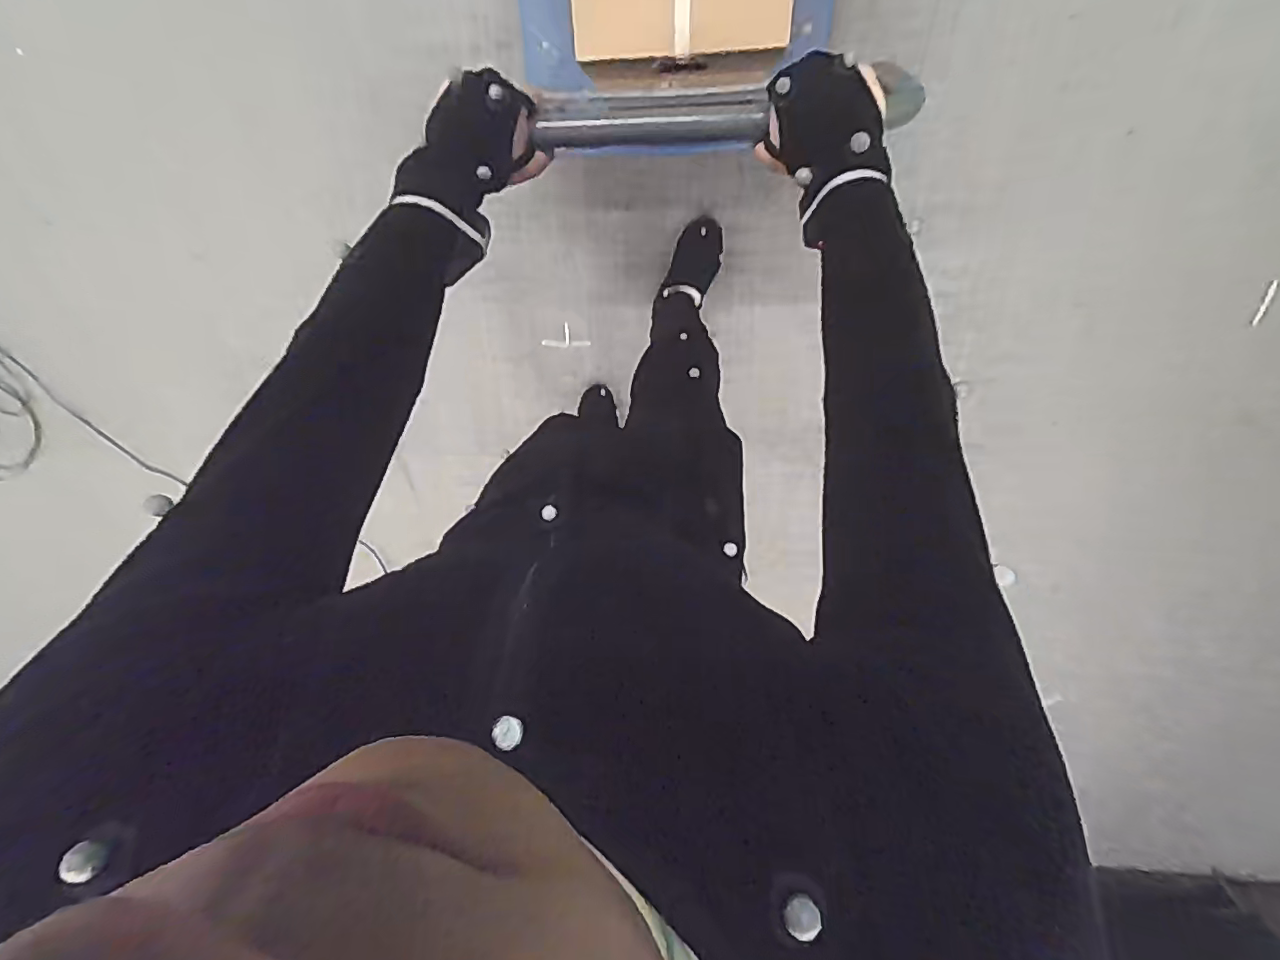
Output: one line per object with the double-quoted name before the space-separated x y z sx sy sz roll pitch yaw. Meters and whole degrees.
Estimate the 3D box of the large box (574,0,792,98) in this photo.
"large box" 0.066 -0.873 0.842 0.320 0.320 0.408 0 117 5
